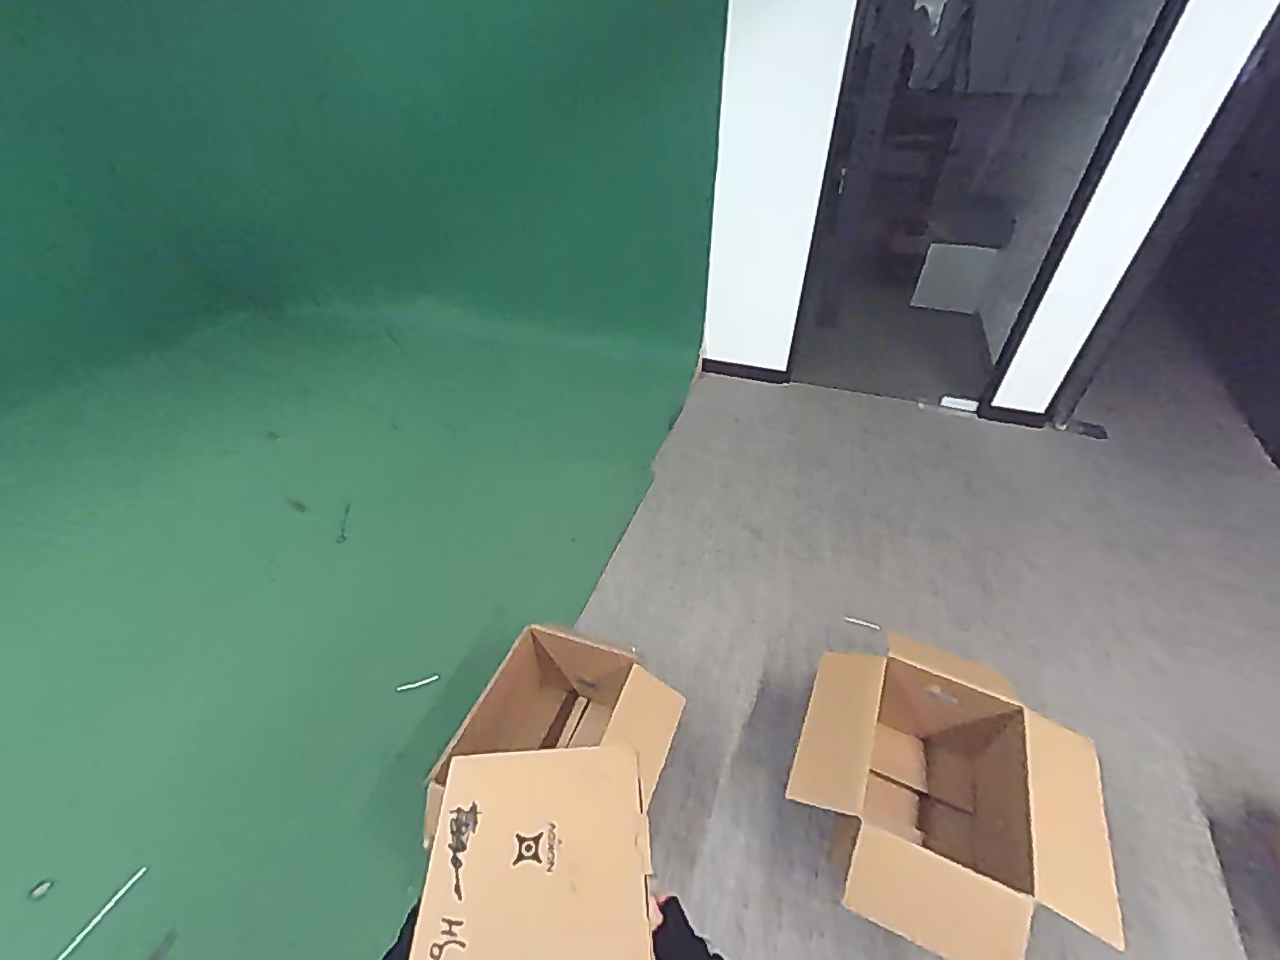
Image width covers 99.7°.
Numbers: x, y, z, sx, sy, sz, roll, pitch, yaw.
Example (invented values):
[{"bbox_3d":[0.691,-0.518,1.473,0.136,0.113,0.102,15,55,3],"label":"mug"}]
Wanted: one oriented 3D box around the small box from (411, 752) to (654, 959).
[{"bbox_3d":[-0.085,0.372,0.491,0.179,0.176,0.168,1,34,-4],"label":"small box"}]
